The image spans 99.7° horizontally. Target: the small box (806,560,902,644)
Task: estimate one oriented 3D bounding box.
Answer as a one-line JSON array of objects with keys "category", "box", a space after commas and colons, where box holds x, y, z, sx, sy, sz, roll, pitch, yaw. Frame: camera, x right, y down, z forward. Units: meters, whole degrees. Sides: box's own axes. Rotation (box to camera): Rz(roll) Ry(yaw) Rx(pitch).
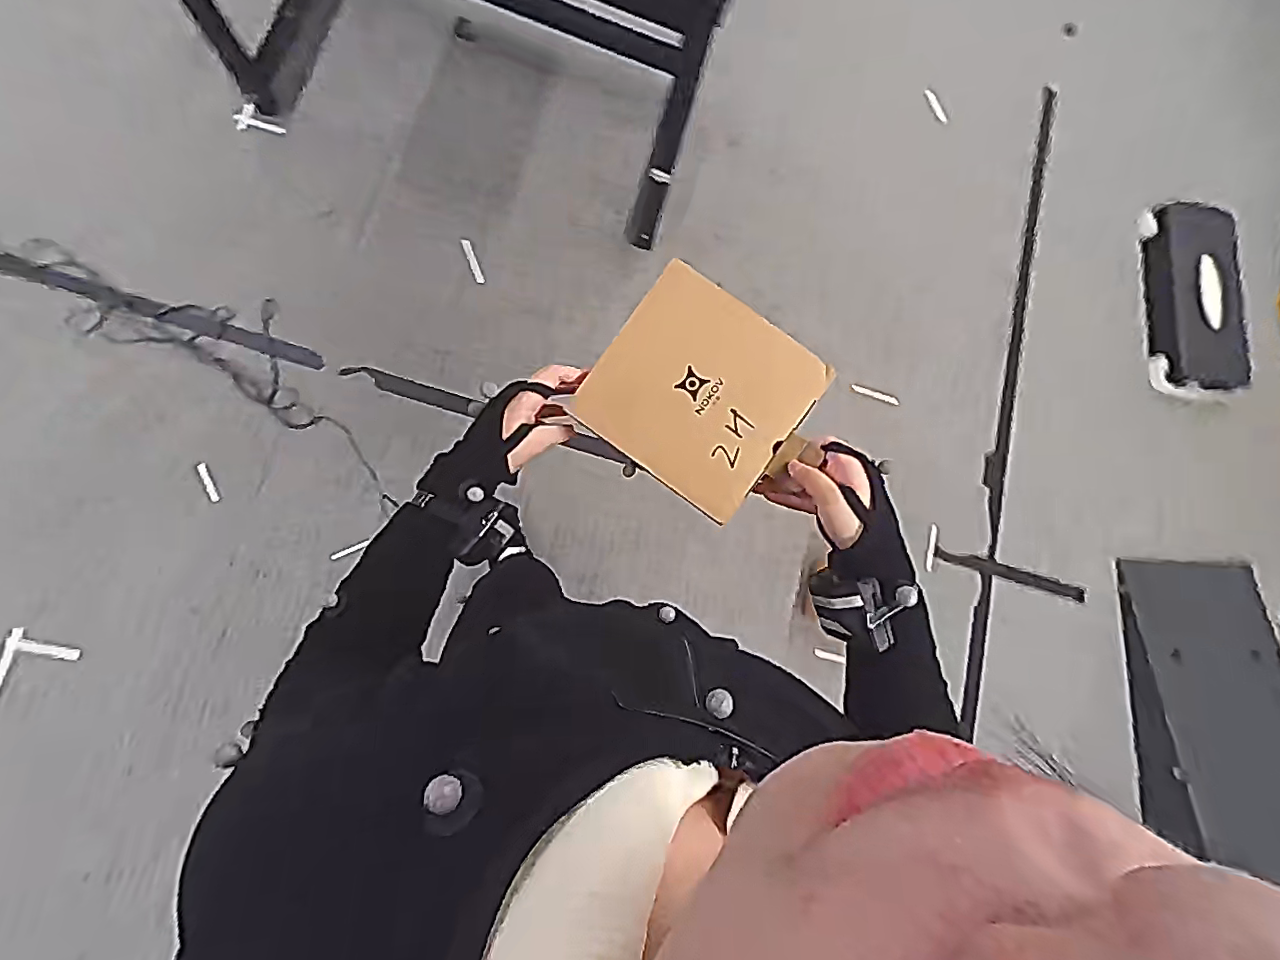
[{"category": "small box", "box": [0.577, 0.327, 1.482, 0.168, 0.176, 0.179, 19, 81, -5]}]
